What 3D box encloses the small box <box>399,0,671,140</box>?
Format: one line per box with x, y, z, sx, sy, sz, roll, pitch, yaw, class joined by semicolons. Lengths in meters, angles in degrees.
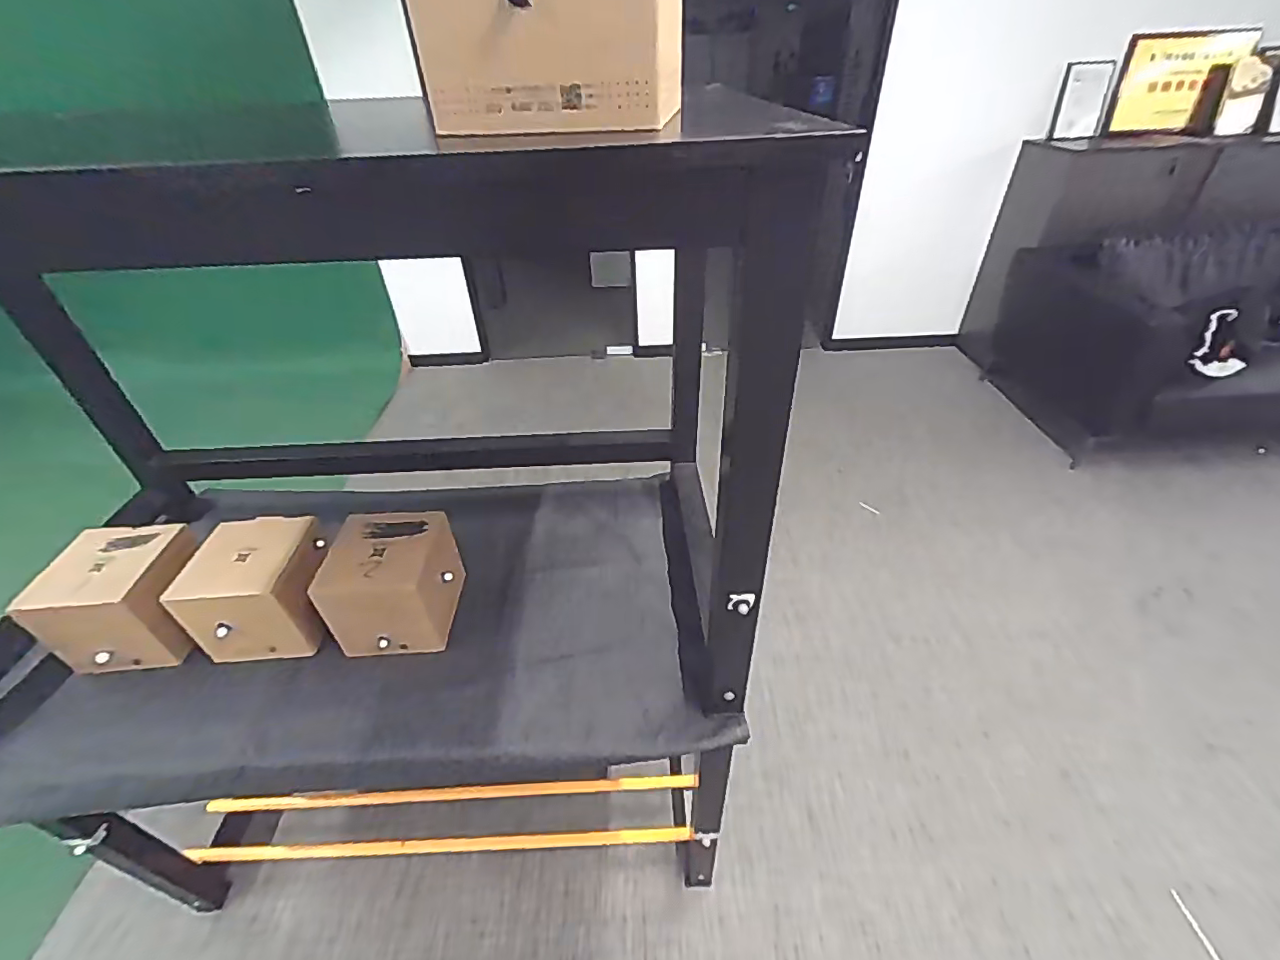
-0.066;-0.359;0.402;0.168;0.176;0.179;3;38;8;small box

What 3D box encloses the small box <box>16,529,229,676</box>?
-0.848;0.205;0.916;0.168;0.176;0.179;-4;38;-2;small box
